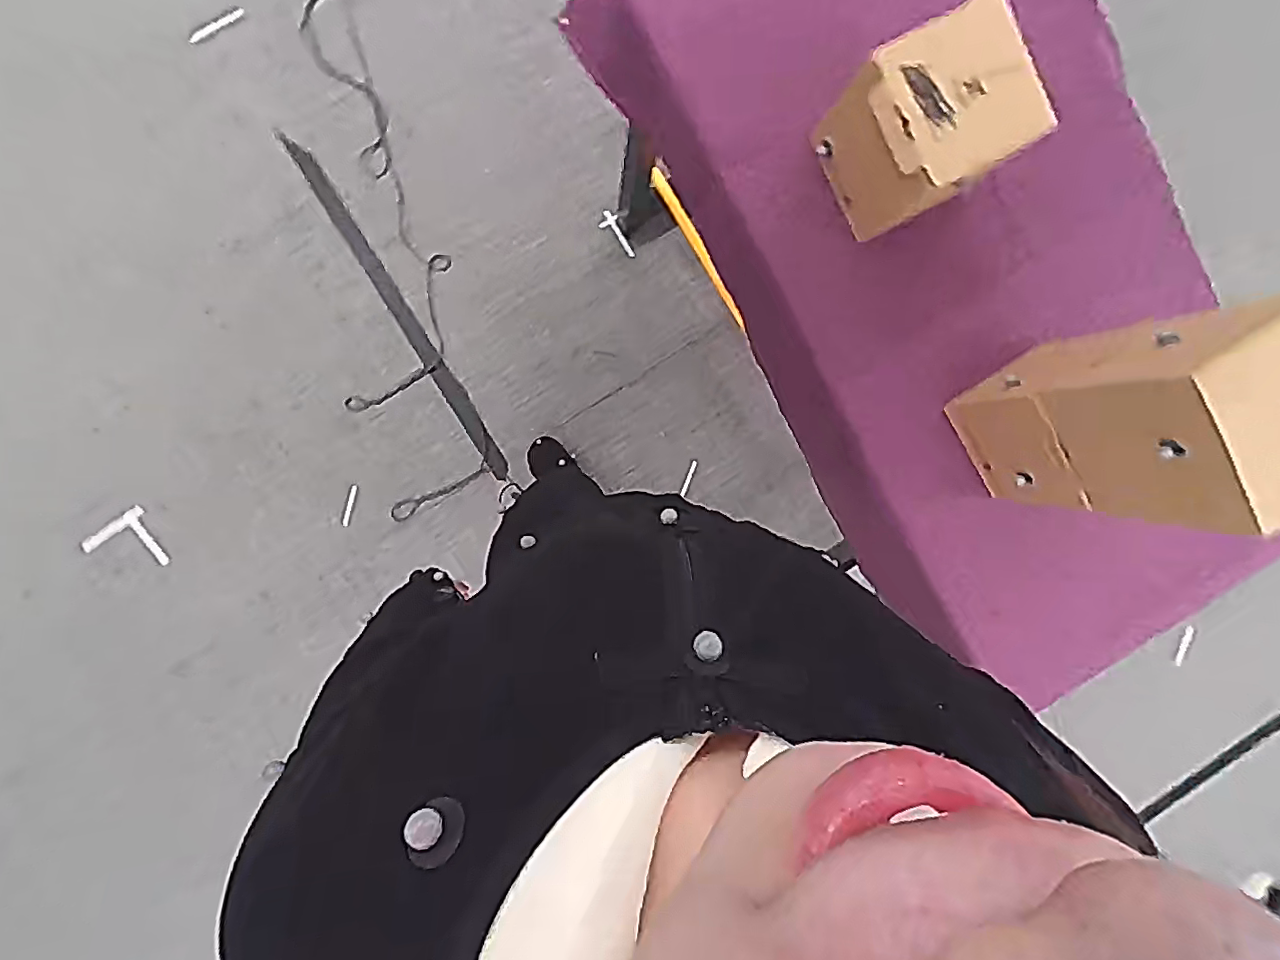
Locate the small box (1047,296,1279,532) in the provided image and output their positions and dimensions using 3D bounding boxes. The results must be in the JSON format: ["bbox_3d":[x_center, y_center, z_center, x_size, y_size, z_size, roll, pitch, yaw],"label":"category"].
[{"bbox_3d":[0.590,-0.069,0.574,0.168,0.176,0.179,-30,97,-2],"label":"small box"}]

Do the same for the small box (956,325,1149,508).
[{"bbox_3d":[0.572,-0.081,0.737,0.179,0.176,0.168,-32,97,-3],"label":"small box"}]

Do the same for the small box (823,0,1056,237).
[{"bbox_3d":[0.359,-0.444,0.689,0.179,0.176,0.168,-28,97,-4],"label":"small box"}]
